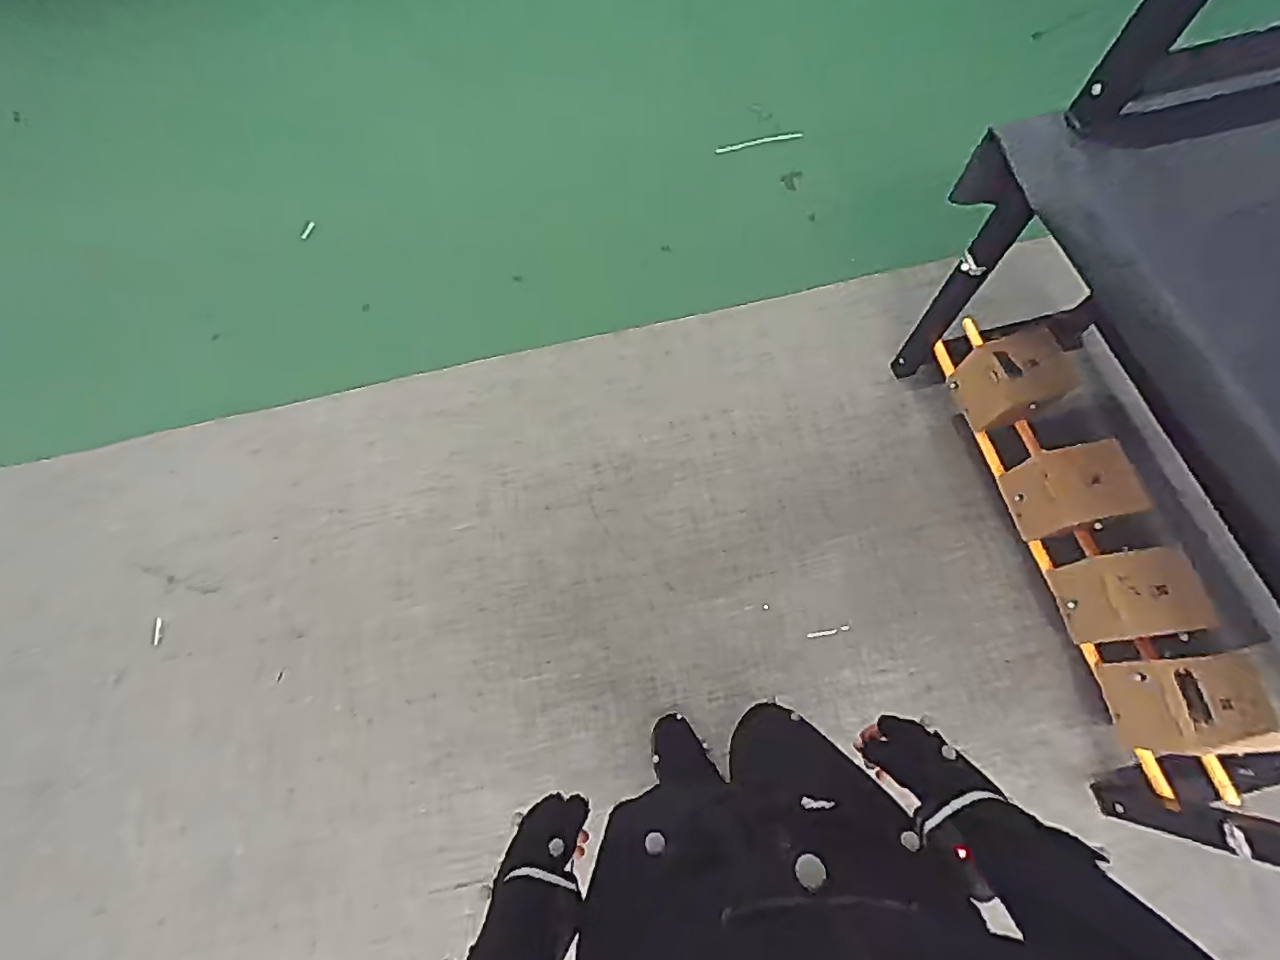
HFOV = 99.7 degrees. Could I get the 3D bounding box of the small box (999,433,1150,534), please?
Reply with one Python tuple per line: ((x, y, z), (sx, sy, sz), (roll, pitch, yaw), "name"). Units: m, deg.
((0.968, 0.013, 1.223), (0.179, 0.176, 0.168), (-13, 70, 2), "small box")
